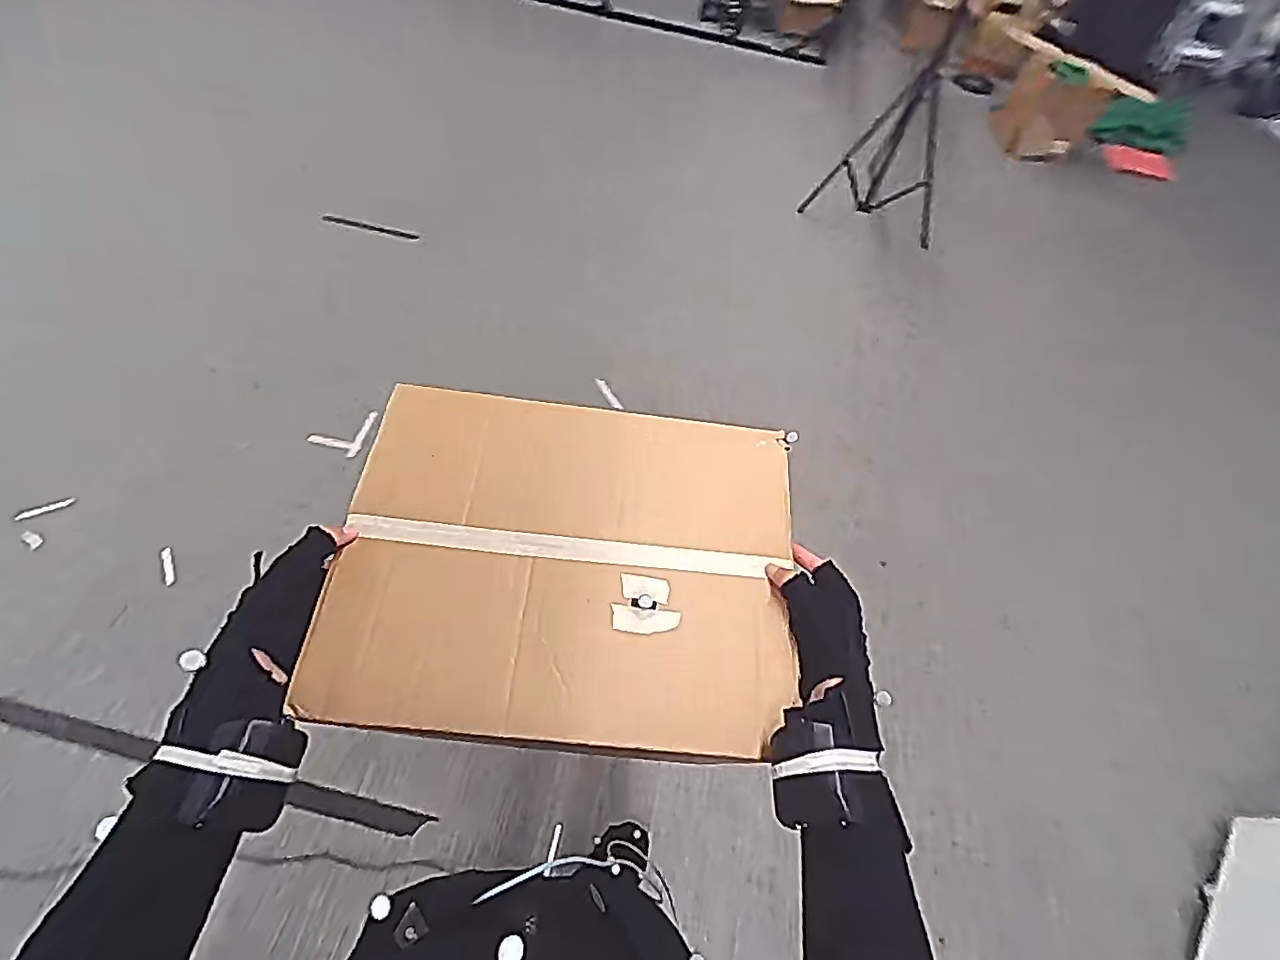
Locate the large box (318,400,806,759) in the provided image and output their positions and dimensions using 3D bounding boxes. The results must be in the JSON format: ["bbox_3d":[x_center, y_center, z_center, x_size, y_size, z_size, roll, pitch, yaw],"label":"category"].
[{"bbox_3d":[-0.066,0.140,0.635,0.408,0.320,0.320,7,62,-4],"label":"large box"}]
